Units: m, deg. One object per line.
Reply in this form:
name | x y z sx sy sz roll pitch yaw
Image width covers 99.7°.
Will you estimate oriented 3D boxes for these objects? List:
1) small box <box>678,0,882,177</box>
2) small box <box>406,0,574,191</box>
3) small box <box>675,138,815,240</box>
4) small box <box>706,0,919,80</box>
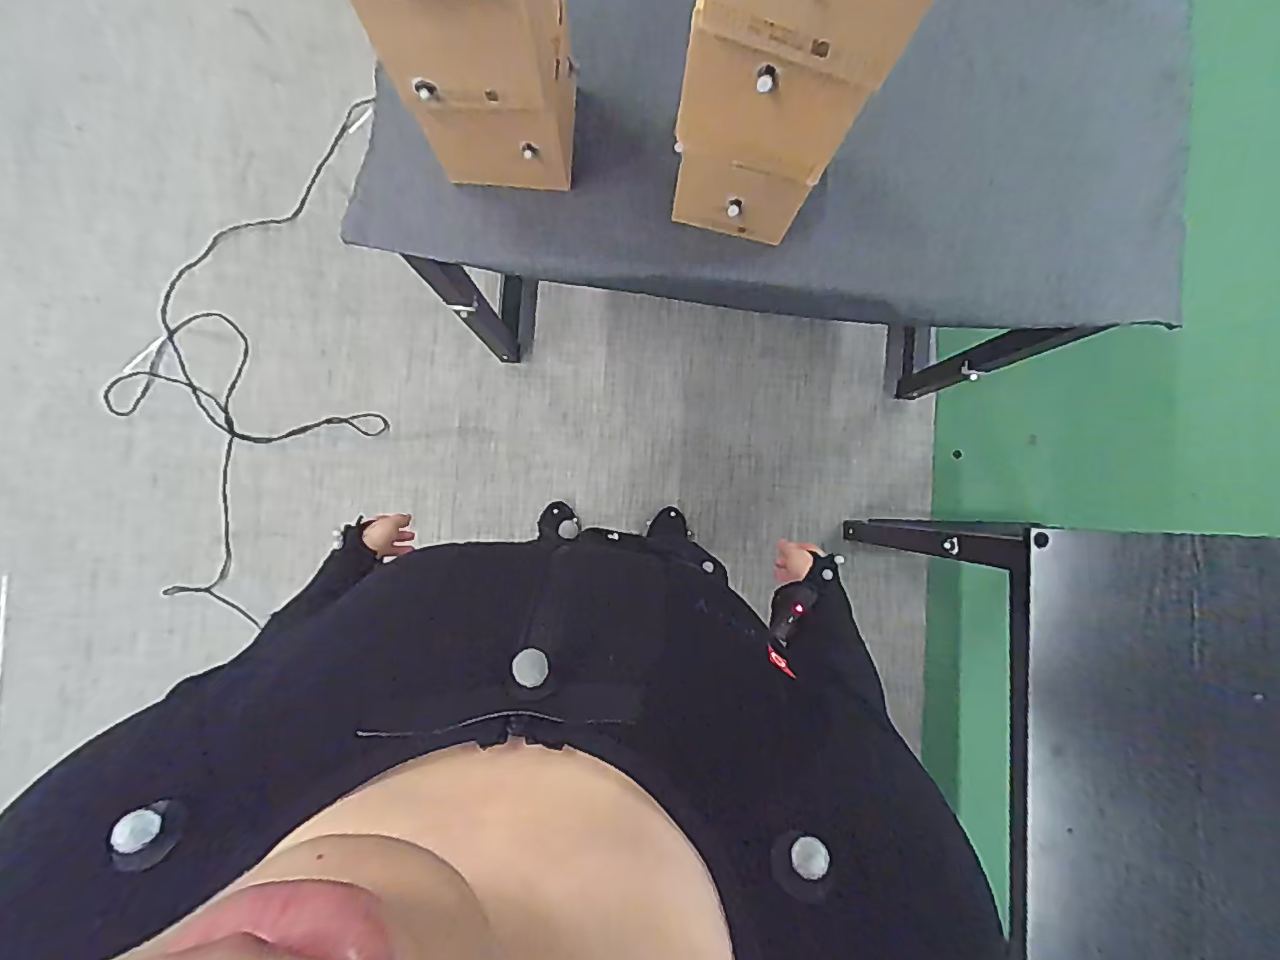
small box | 0.148 -0.448 0.552 0.179 0.176 0.168 18 87 1
small box | -0.184 -0.508 0.714 0.179 0.176 0.168 3 86 0
small box | 0.144 -0.449 0.715 0.168 0.176 0.179 13 87 0
small box | 0.151 -0.443 0.386 0.168 0.176 0.179 20 87 0
